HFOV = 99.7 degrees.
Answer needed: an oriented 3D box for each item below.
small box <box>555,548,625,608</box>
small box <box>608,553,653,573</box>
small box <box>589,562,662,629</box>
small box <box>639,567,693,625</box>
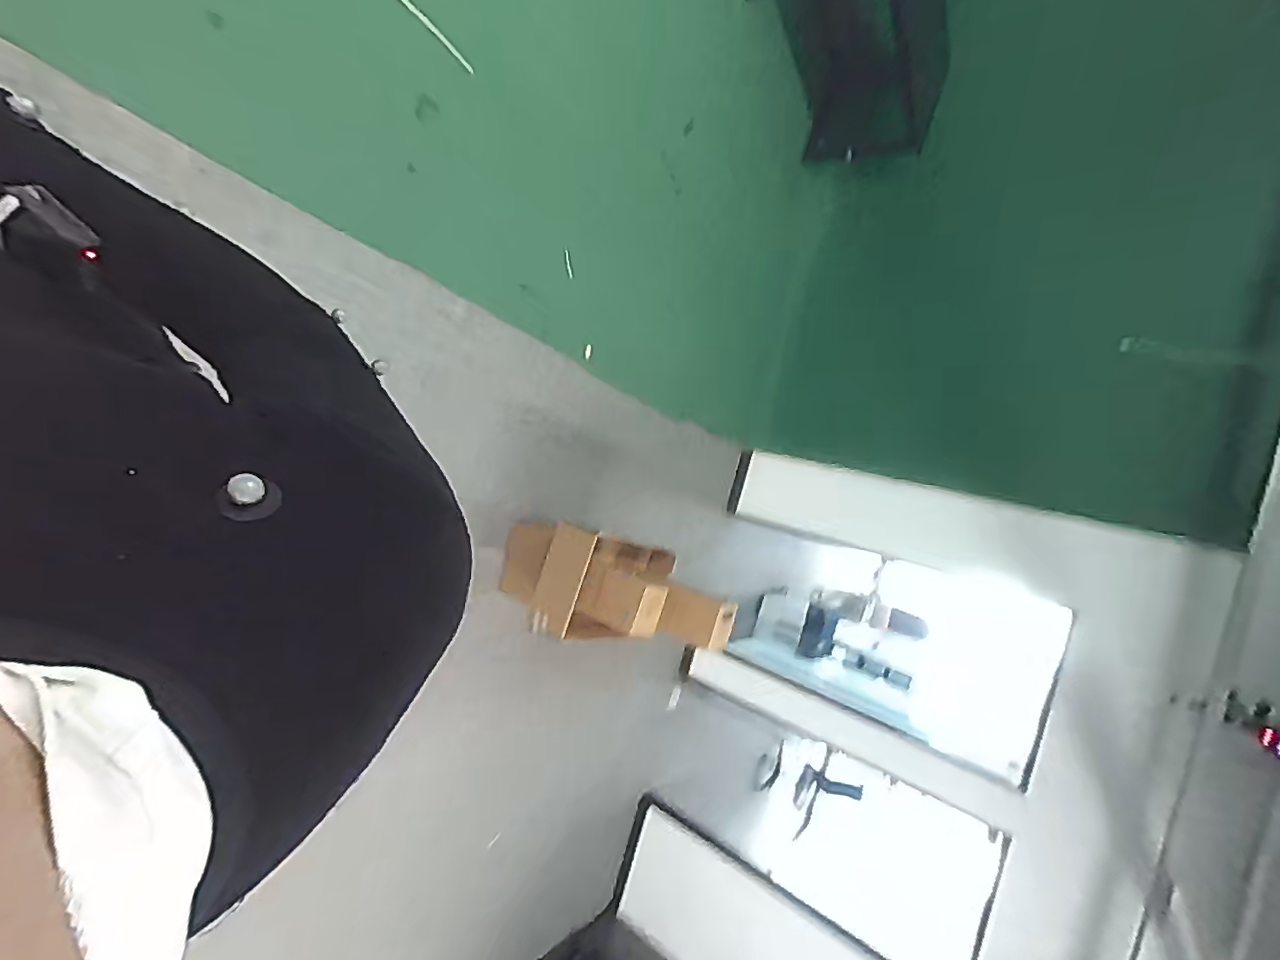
[{"bbox_3d":[-0.185,0.361,1.985,0.168,0.176,0.179,26,82,-57],"label":"small box"},{"bbox_3d":[-0.049,0.416,2.214,0.168,0.176,0.179,23,85,-56],"label":"small box"},{"bbox_3d":[-0.055,0.404,1.892,0.168,0.176,0.179,28,80,-58],"label":"small box"},{"bbox_3d":[0.080,0.454,2.120,0.168,0.176,0.179,20,86,-56],"label":"small box"}]
